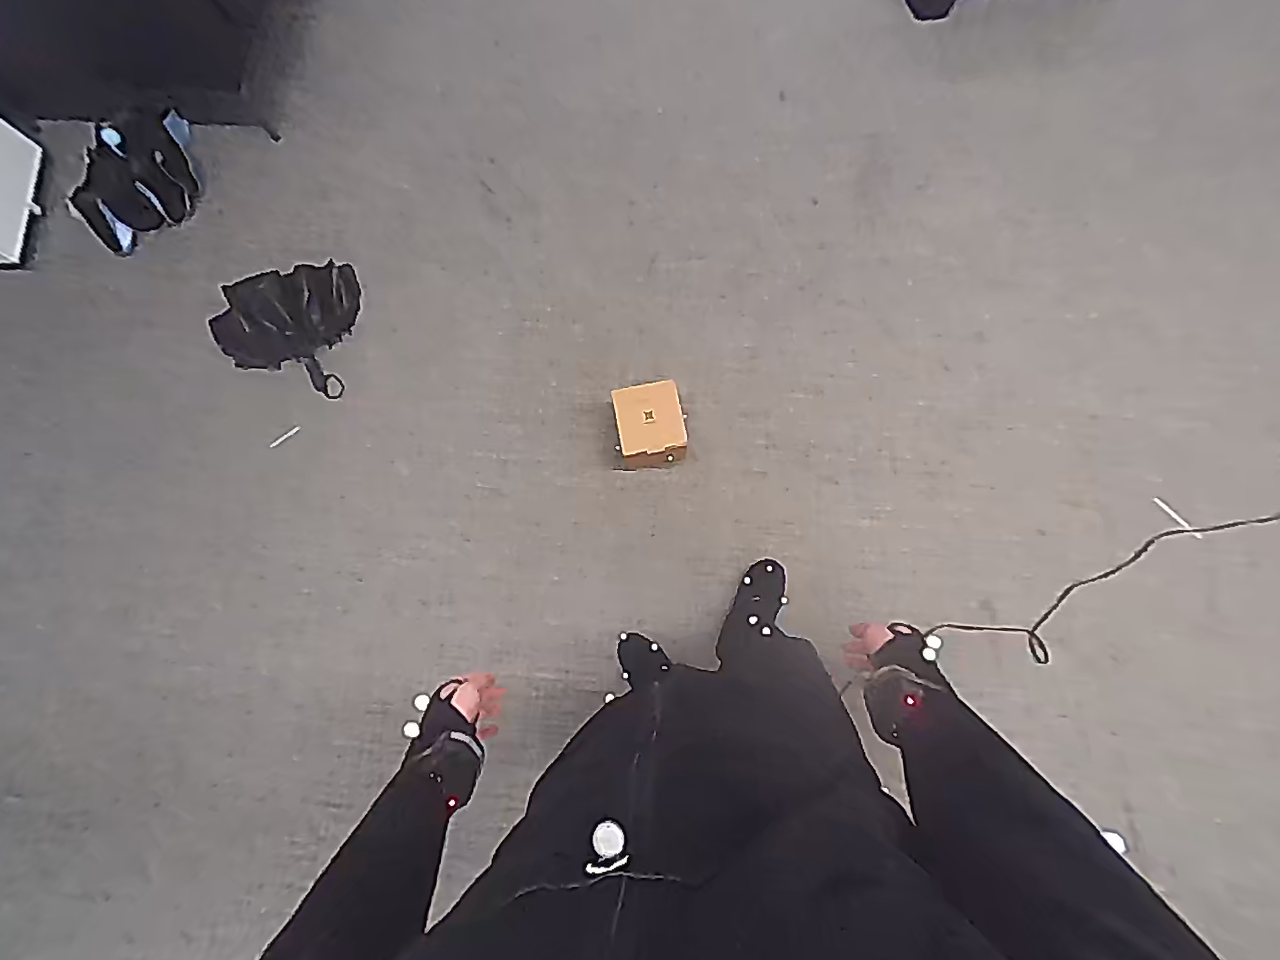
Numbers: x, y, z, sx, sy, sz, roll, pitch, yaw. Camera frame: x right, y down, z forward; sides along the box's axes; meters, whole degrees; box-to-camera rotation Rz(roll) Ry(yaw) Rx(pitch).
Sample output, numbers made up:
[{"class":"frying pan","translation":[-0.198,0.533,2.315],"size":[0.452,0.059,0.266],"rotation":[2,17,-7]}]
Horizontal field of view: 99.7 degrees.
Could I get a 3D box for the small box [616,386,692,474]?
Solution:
[{"class":"small box","translation":[0.038,-0.121,1.416],"size":[0.168,0.176,0.179],"rotation":[-12,76,0]}]
